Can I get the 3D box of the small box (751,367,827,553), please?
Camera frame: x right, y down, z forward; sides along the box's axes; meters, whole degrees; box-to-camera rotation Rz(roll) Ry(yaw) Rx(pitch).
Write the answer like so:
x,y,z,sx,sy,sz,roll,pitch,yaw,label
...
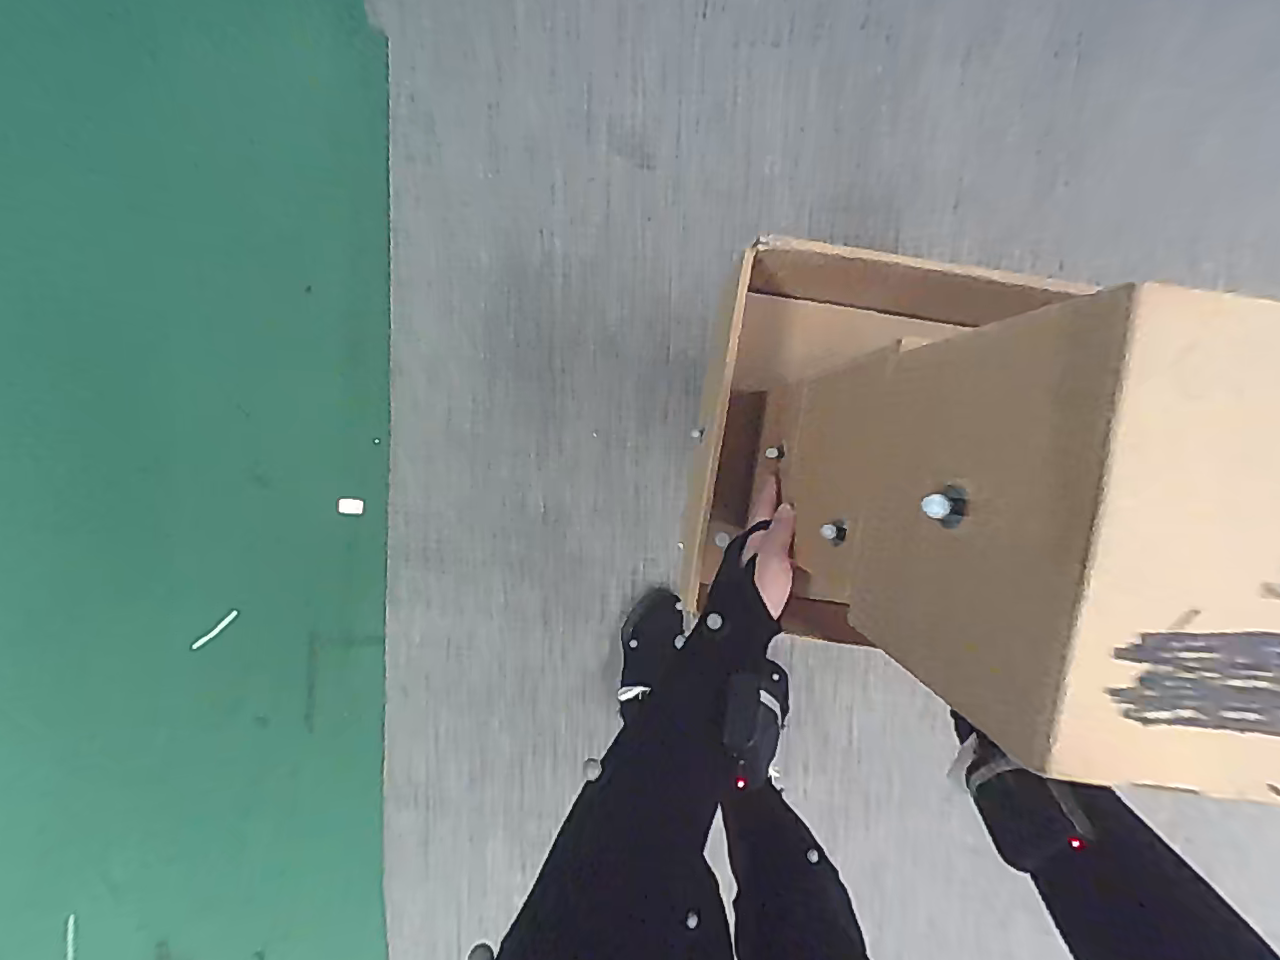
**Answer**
x,y,z,sx,sy,sz,roll,pitch,yaw,label
0.228,-0.010,0.585,0.168,0.176,0.179,9,93,-1,small box
